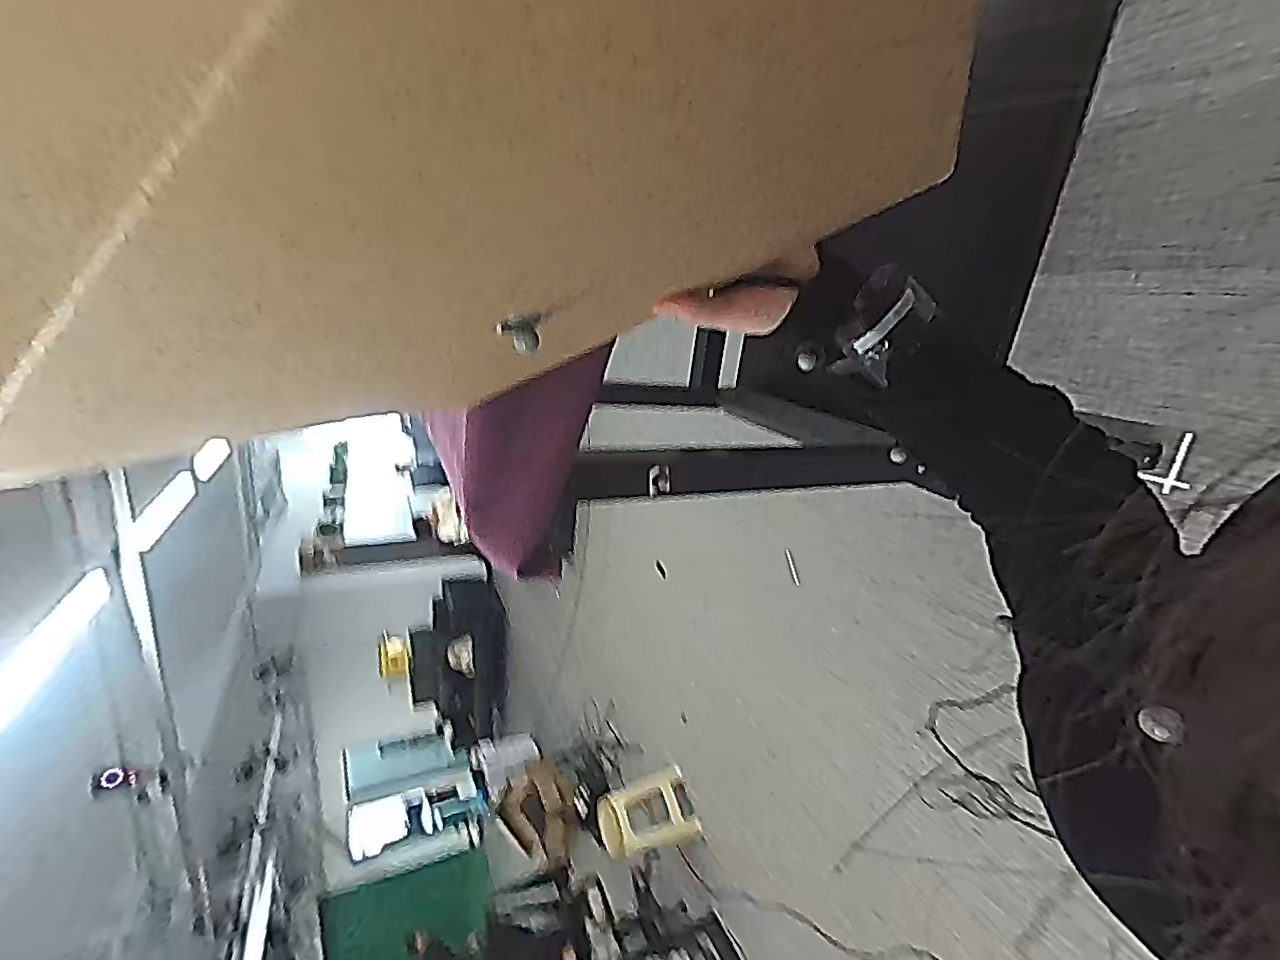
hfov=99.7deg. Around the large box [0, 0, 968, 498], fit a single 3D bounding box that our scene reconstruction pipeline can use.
[{"bbox_3d":[-0.117,-0.220,0.252,0.408,0.320,0.320,-18,94,31],"label":"large box"}]
